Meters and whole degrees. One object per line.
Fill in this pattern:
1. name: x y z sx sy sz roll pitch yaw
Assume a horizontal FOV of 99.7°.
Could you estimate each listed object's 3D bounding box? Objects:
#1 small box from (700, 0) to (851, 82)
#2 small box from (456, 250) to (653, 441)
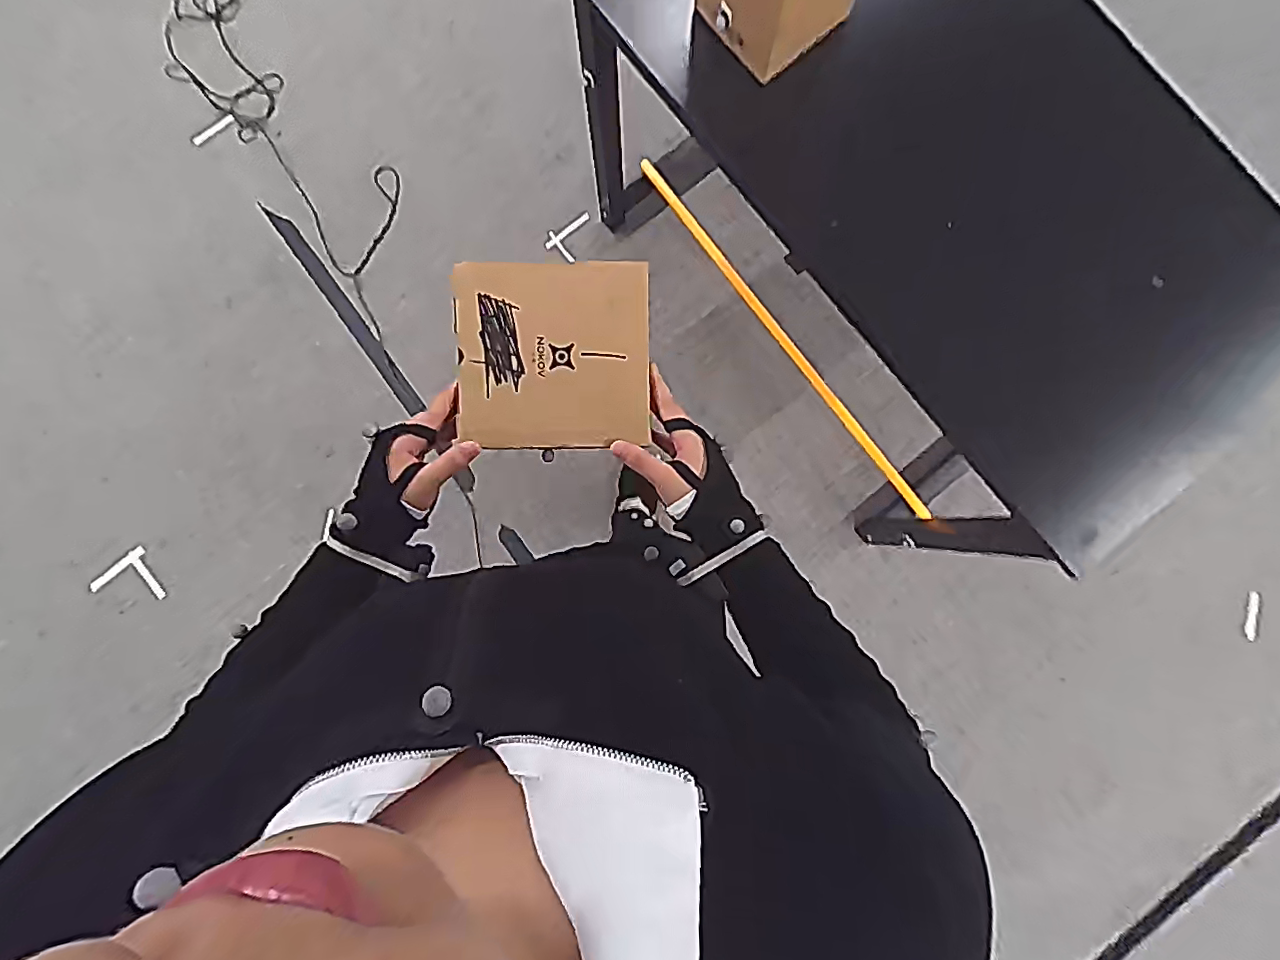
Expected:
1. small box: 0.199 -0.715 0.743 0.179 0.176 0.168 -41 86 -2
2. small box: -0.076 -0.126 0.562 0.179 0.176 0.168 -1 93 -1
